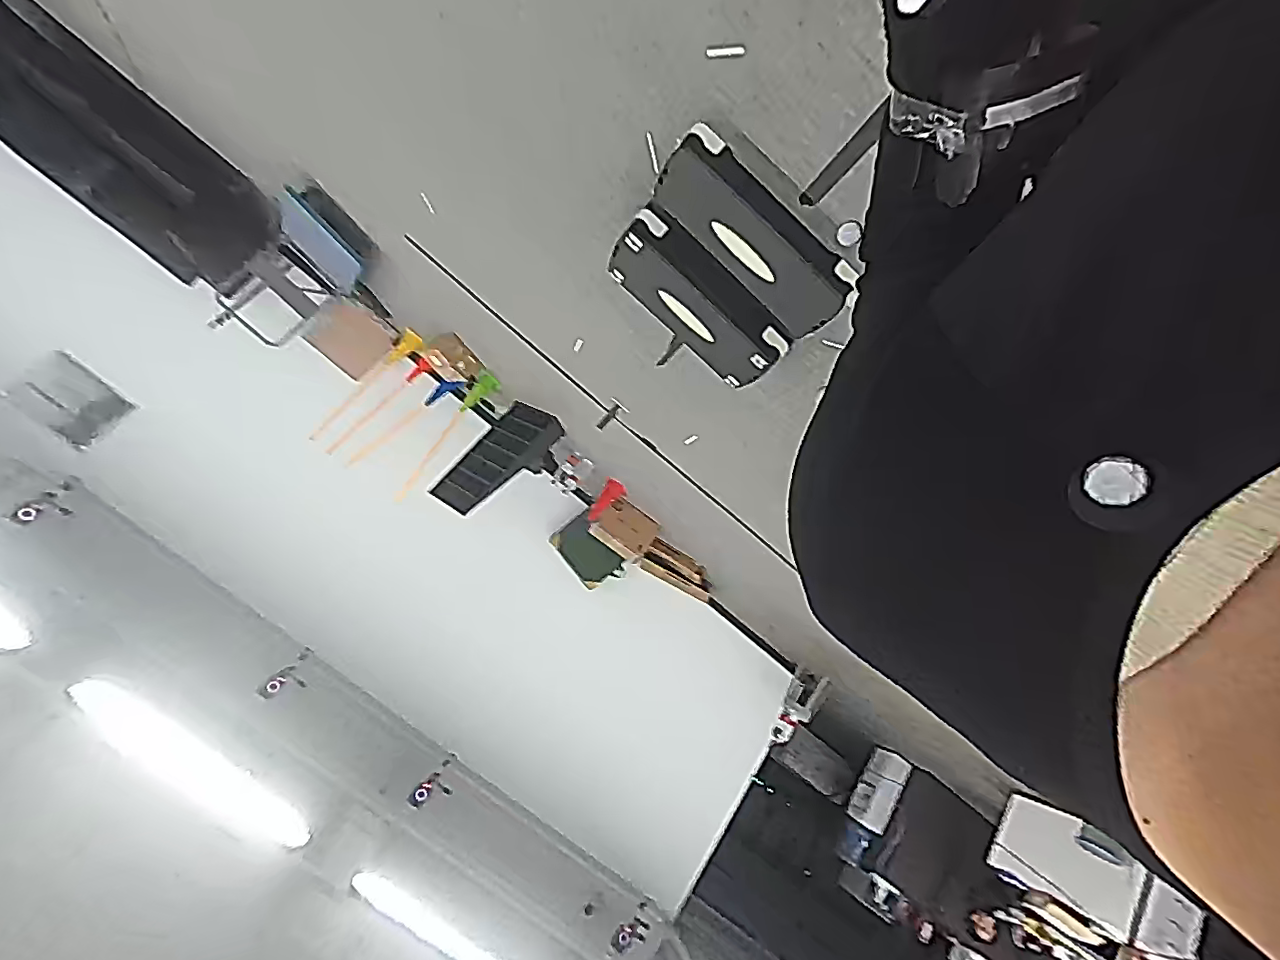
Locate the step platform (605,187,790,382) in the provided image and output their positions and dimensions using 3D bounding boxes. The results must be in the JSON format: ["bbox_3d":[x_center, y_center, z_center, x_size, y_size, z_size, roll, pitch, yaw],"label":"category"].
[{"bbox_3d":[0.197,-0.653,1.896,0.684,0.204,0.286,43,160,-12],"label":"step platform"}]
